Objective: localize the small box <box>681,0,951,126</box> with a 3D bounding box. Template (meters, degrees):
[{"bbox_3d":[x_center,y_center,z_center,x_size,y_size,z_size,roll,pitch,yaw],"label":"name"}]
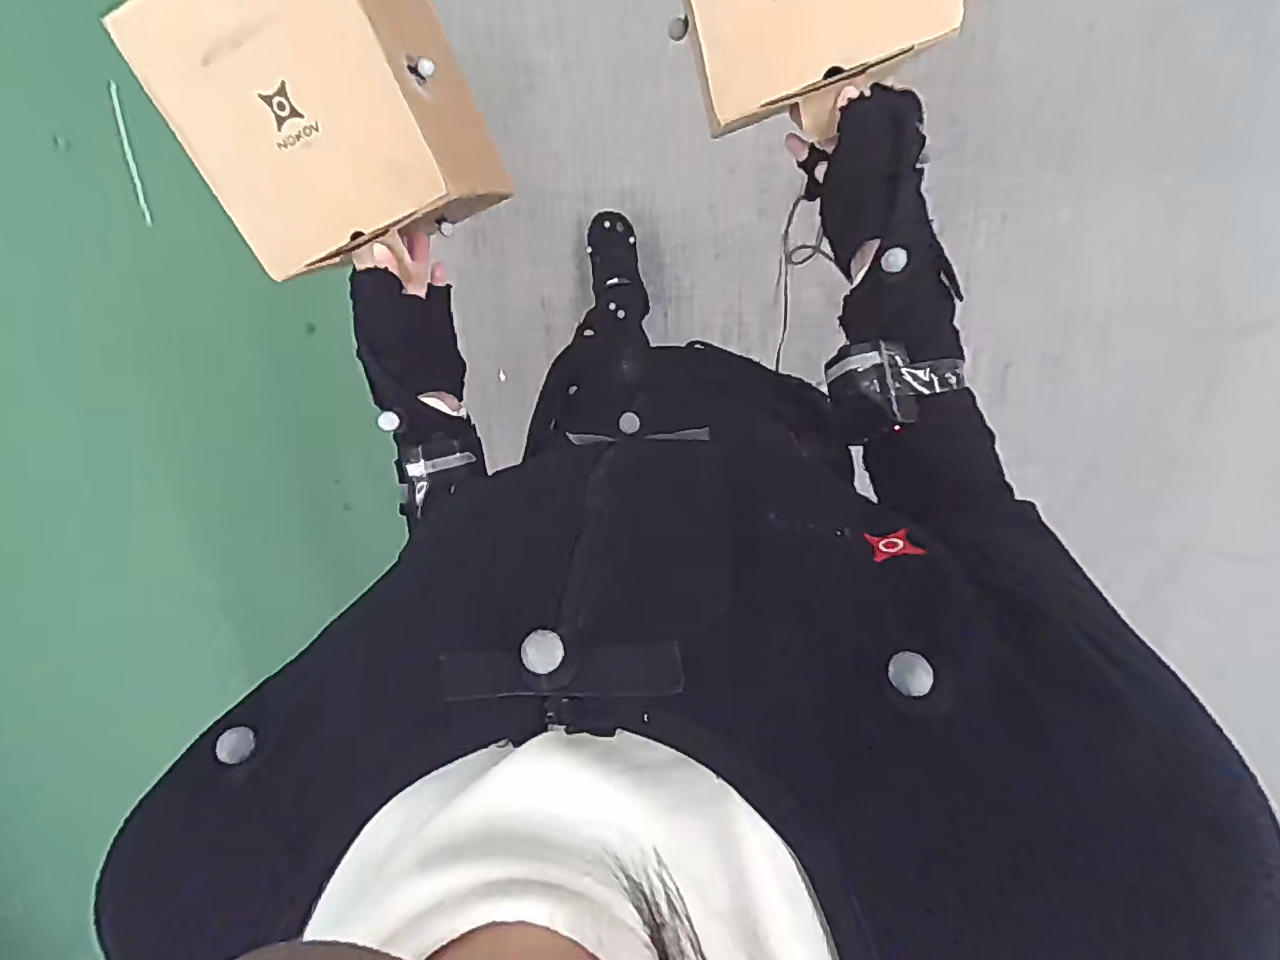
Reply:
[{"bbox_3d":[0.114,-0.392,0.408,0.168,0.176,0.179,-13,118,13],"label":"small box"}]

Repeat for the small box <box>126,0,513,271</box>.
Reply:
[{"bbox_3d":[-0.230,-0.298,0.445,0.168,0.176,0.179,-17,115,15],"label":"small box"}]
